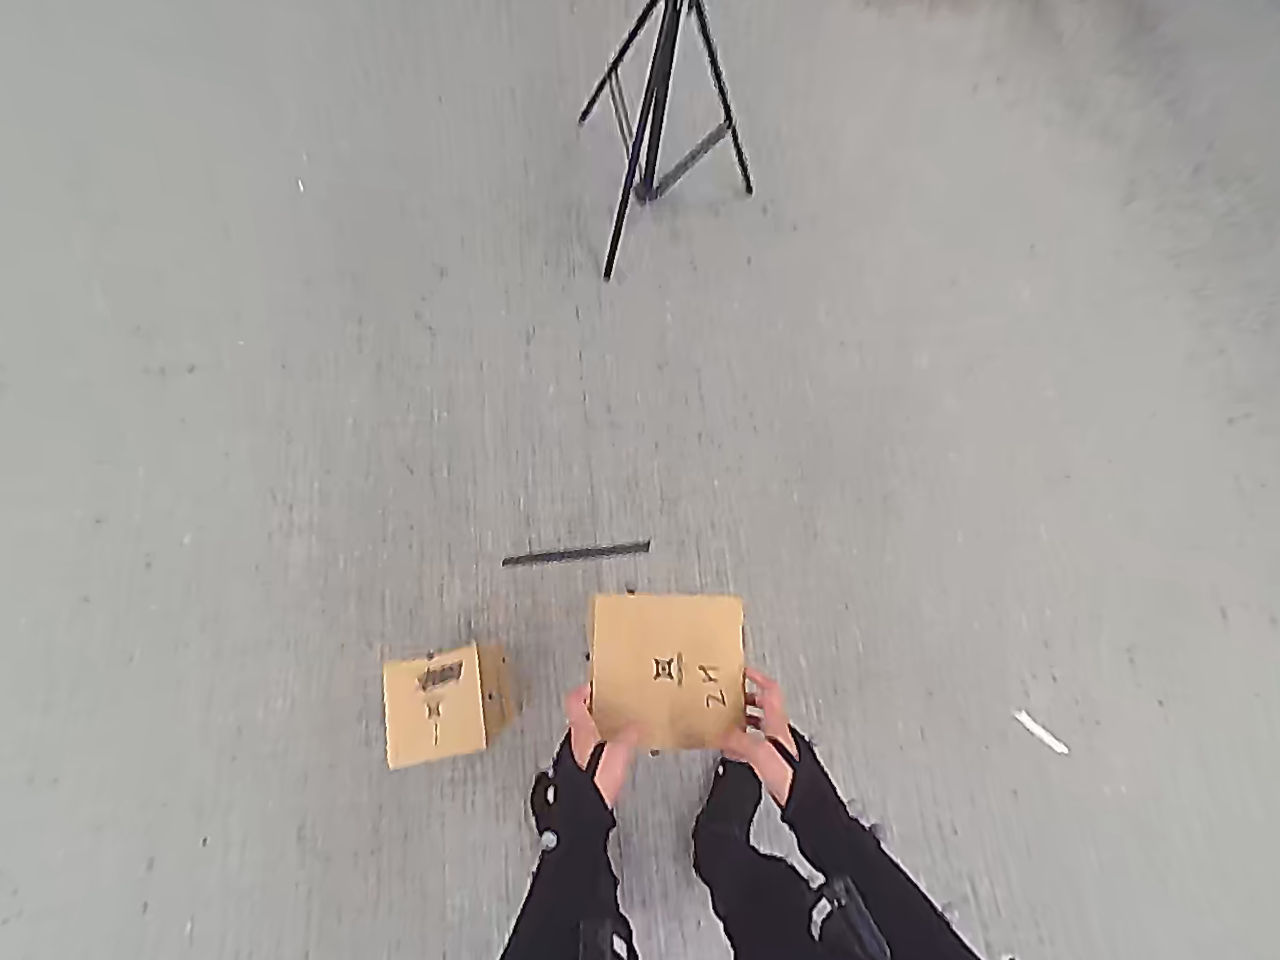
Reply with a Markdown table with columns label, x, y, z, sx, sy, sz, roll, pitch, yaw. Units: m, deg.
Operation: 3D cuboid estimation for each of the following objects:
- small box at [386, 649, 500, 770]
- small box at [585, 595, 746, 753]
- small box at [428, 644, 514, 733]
| label | x | y | z | sx | sy | sz | roll | pitch | yaw |
| --- | --- | --- | --- | --- | --- | --- | --- | --- | --- |
| small box | -0.366 | 0.421 | 1.021 | 0.168 | 0.176 | 0.179 | -8 | 75 | -8 |
| small box | 0.023 | 0.233 | 0.677 | 0.179 | 0.176 | 0.168 | 3 | 77 | -8 |
| small box | -0.376 | 0.463 | 1.179 | 0.168 | 0.176 | 0.179 | -10 | 75 | -9 |
